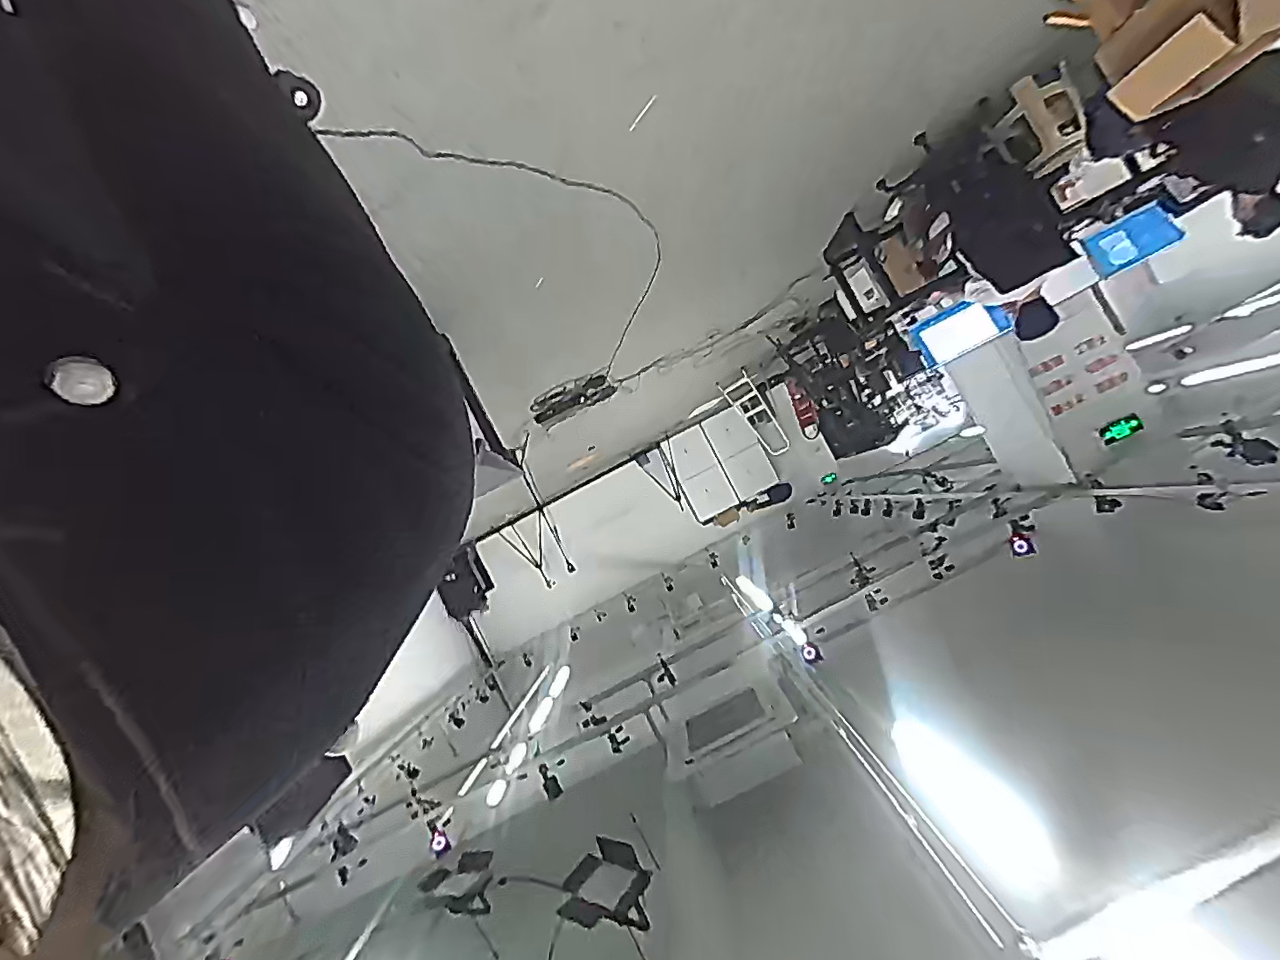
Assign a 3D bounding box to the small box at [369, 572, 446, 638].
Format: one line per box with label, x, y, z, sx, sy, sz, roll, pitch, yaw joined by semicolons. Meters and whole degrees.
small box;-0.868;0.457;2.024;0.179;0.176;0.168;-29;178;4
